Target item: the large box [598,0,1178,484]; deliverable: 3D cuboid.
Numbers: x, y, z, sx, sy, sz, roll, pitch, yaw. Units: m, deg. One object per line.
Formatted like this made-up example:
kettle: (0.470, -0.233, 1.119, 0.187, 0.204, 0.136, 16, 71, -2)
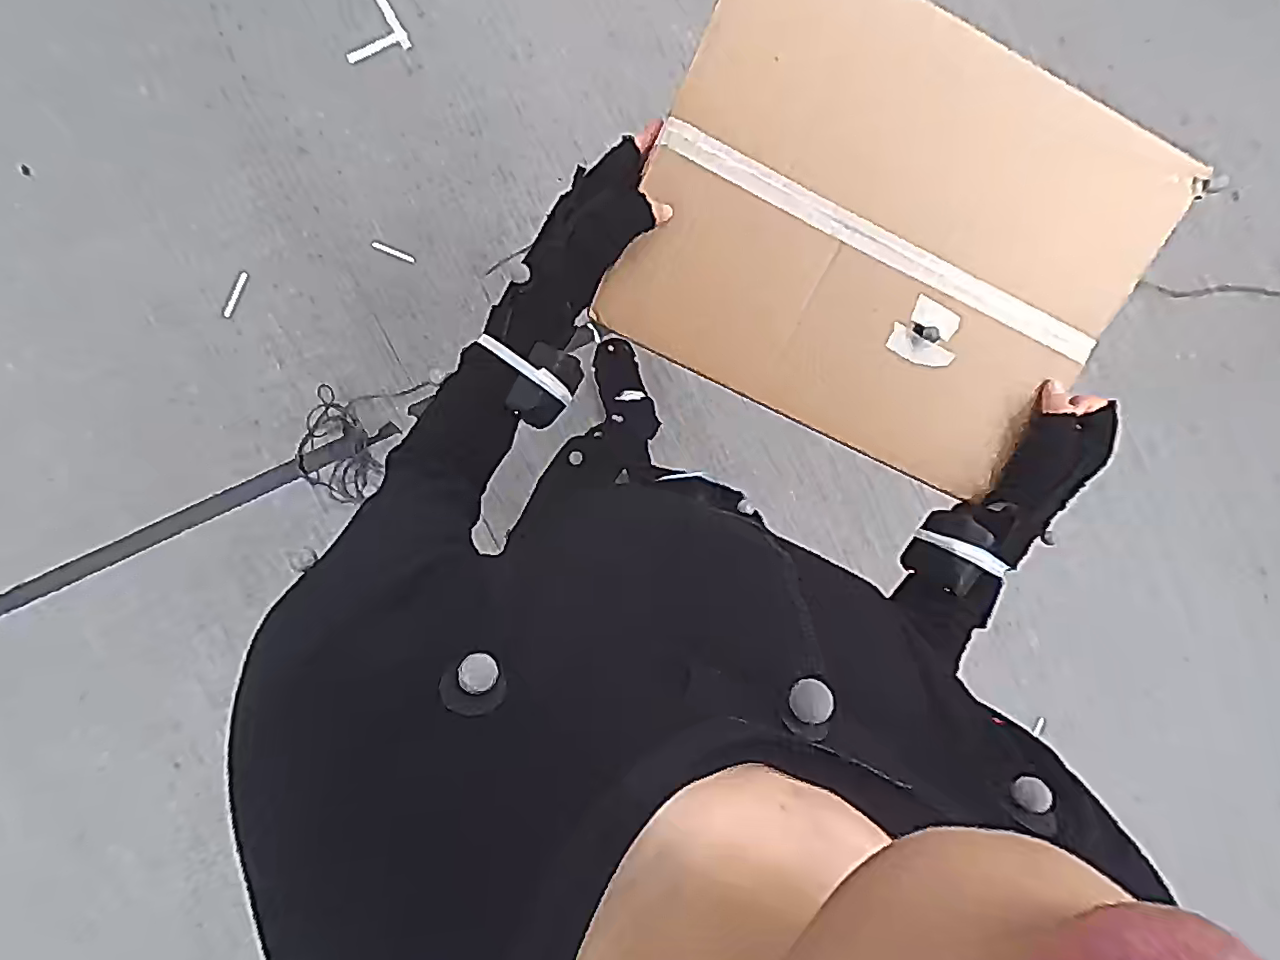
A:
large box: (0.201, -0.246, 0.602, 0.408, 0.320, 0.320, 25, 106, -7)
